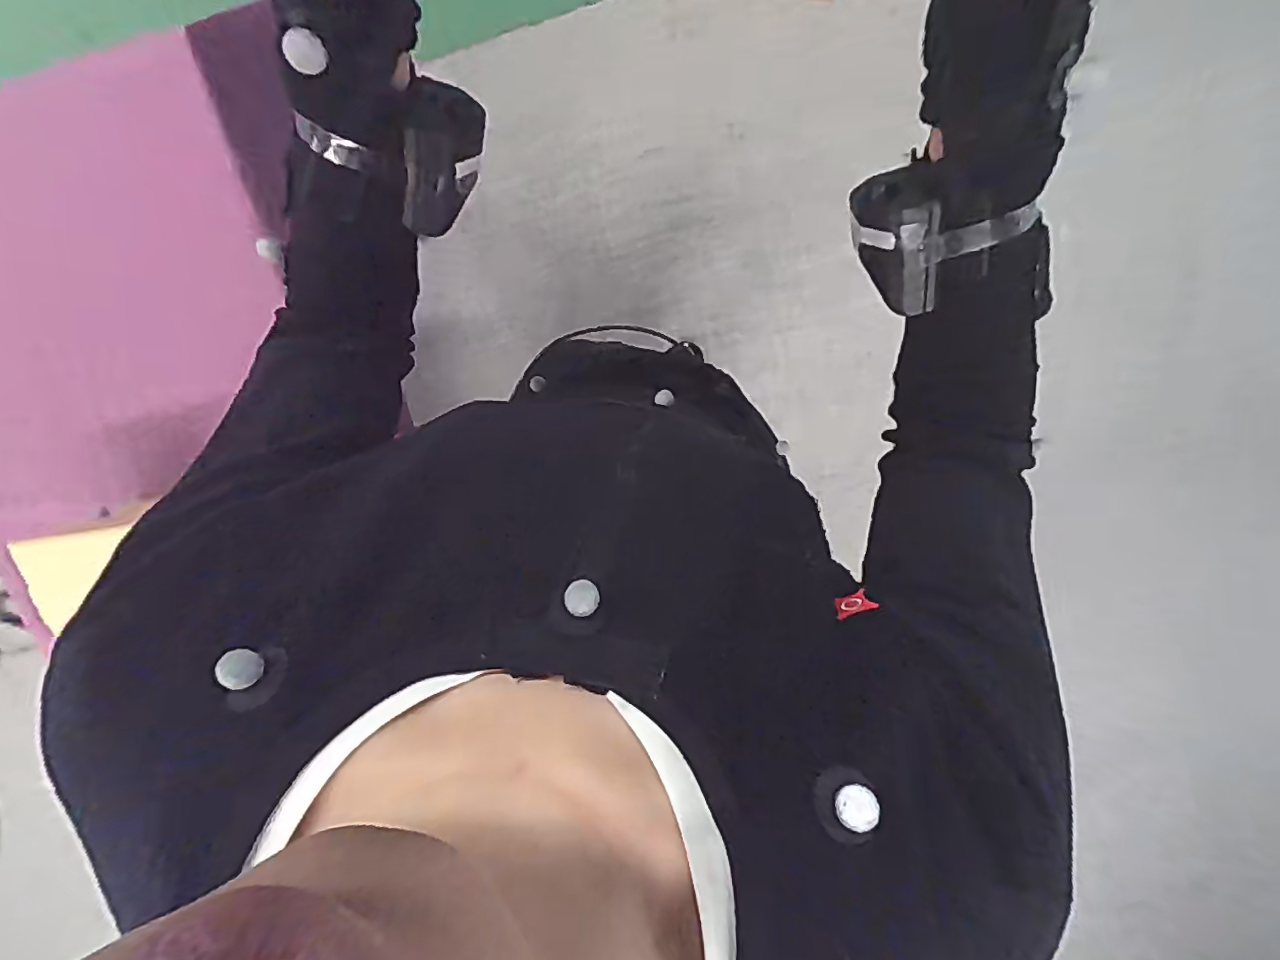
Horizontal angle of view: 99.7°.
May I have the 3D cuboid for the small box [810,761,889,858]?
[{"bbox_3d":[0.628,0.990,1.633,0.168,0.176,0.179,-16,104,7],"label":"small box"}]
